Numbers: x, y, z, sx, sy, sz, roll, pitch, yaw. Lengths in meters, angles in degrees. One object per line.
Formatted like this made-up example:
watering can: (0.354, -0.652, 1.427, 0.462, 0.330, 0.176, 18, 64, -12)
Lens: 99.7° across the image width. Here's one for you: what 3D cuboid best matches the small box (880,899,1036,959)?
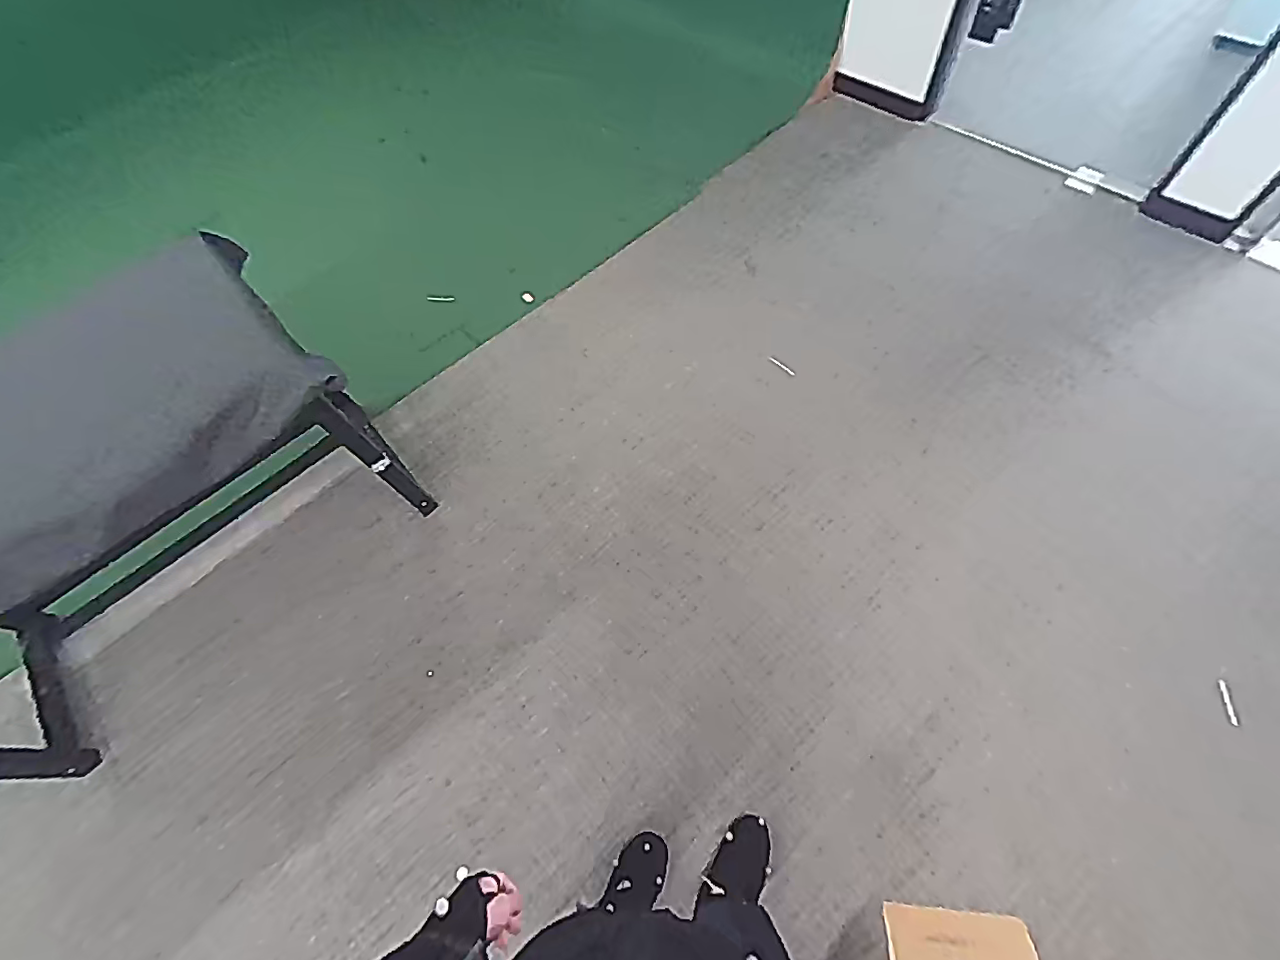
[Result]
small box: (0.387, 0.649, 0.633, 0.168, 0.179, 0.176, -7, 99, 19)
